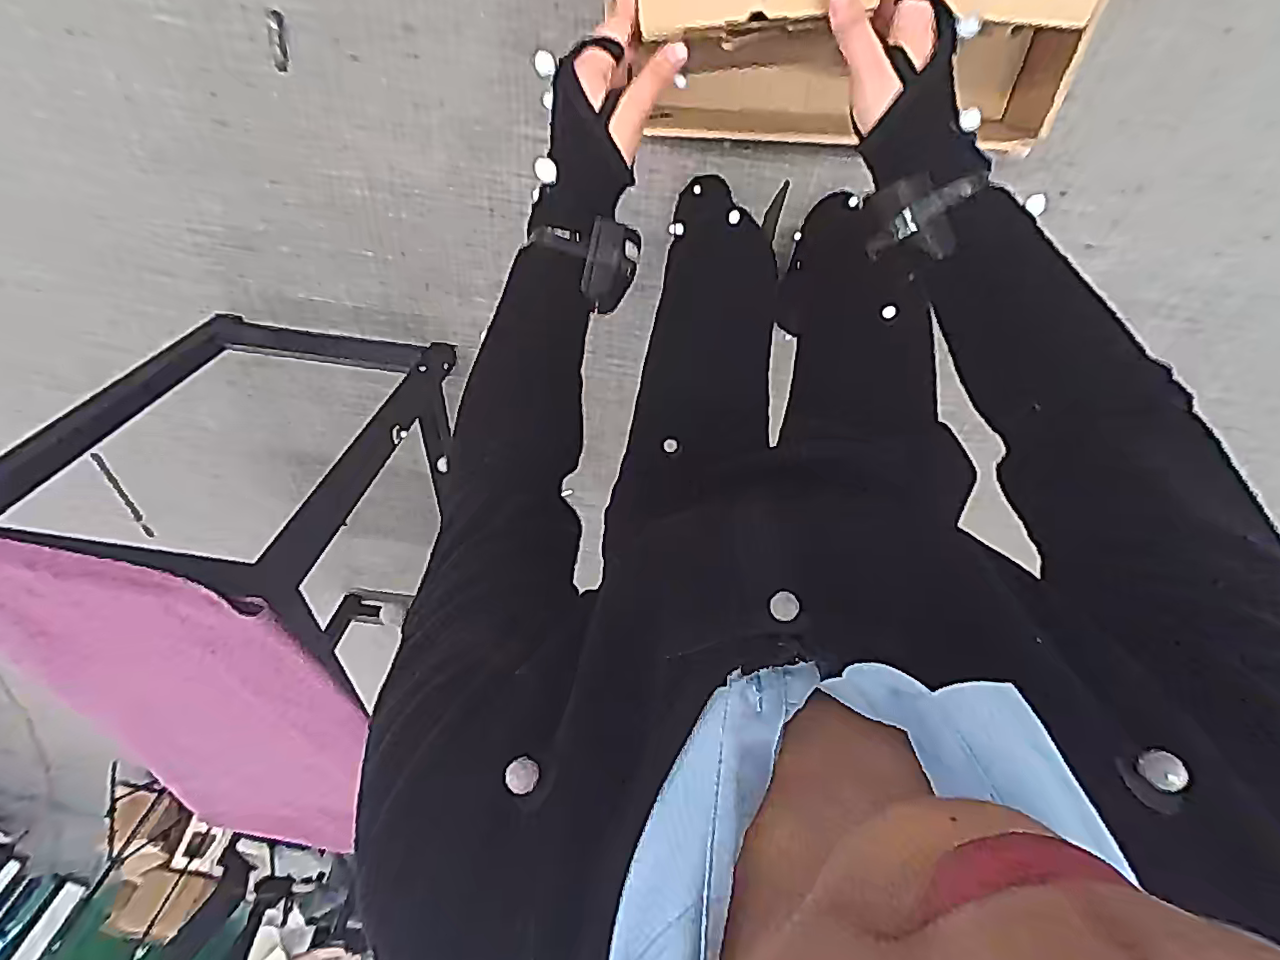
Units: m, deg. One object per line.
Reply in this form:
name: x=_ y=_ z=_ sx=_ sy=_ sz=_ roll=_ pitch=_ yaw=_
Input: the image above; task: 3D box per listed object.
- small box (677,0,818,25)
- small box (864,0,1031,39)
small box: x=0.139 y=-0.692 z=0.690 sx=0.179 sy=0.176 sz=0.168 roll=3 pitch=131 yaw=4
small box: x=0.397 y=-0.671 z=0.676 sx=0.168 sy=0.176 sz=0.179 roll=6 pitch=132 yaw=4
